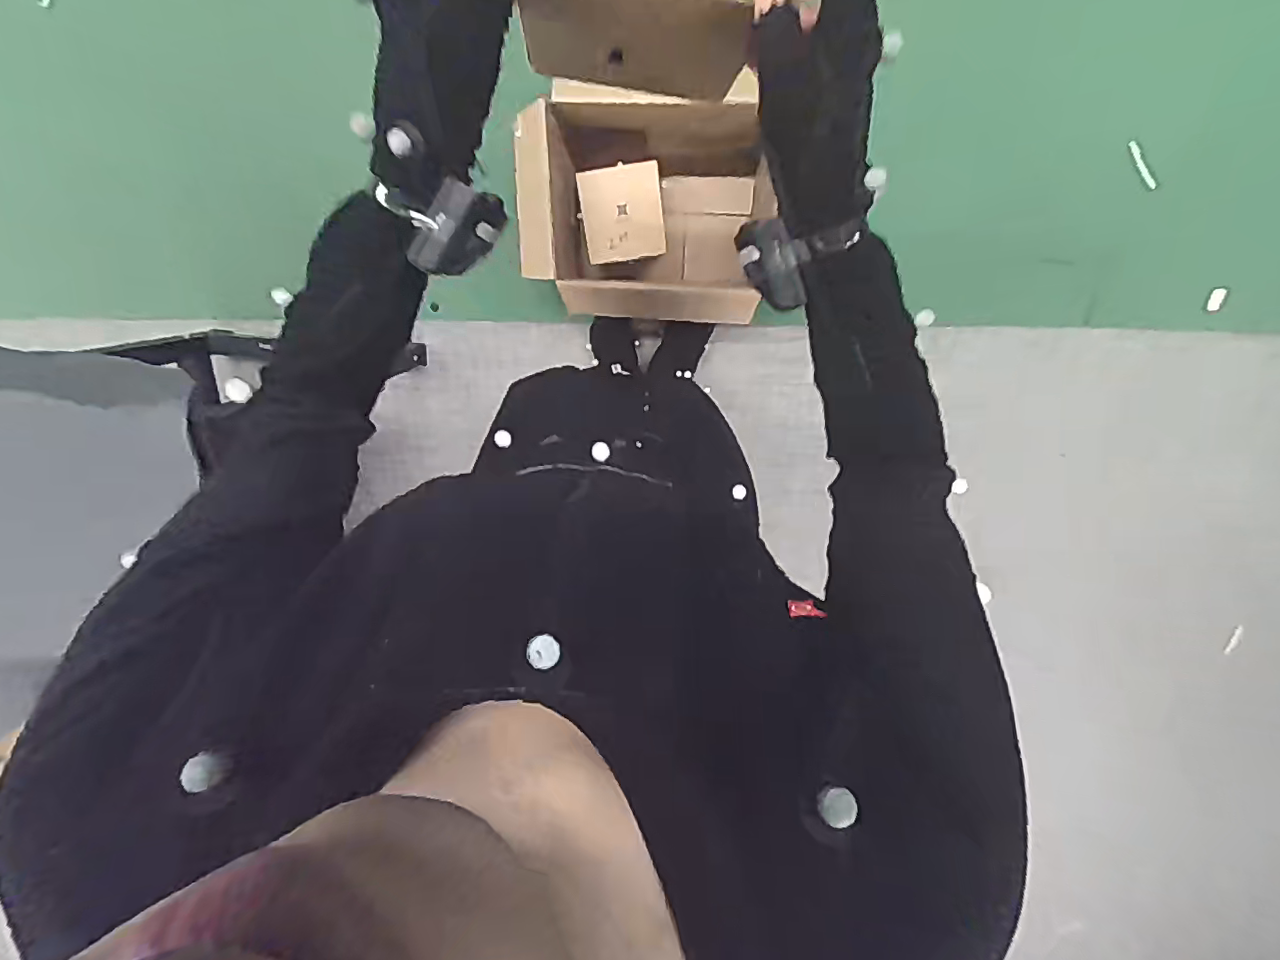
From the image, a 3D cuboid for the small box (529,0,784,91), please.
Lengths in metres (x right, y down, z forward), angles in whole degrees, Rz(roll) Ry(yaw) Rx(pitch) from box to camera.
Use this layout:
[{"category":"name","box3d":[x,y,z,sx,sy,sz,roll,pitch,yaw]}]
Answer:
[{"category":"small box","box3d":[0.010,-0.399,0.358,0.168,0.176,0.179,4,108,-8]}]
